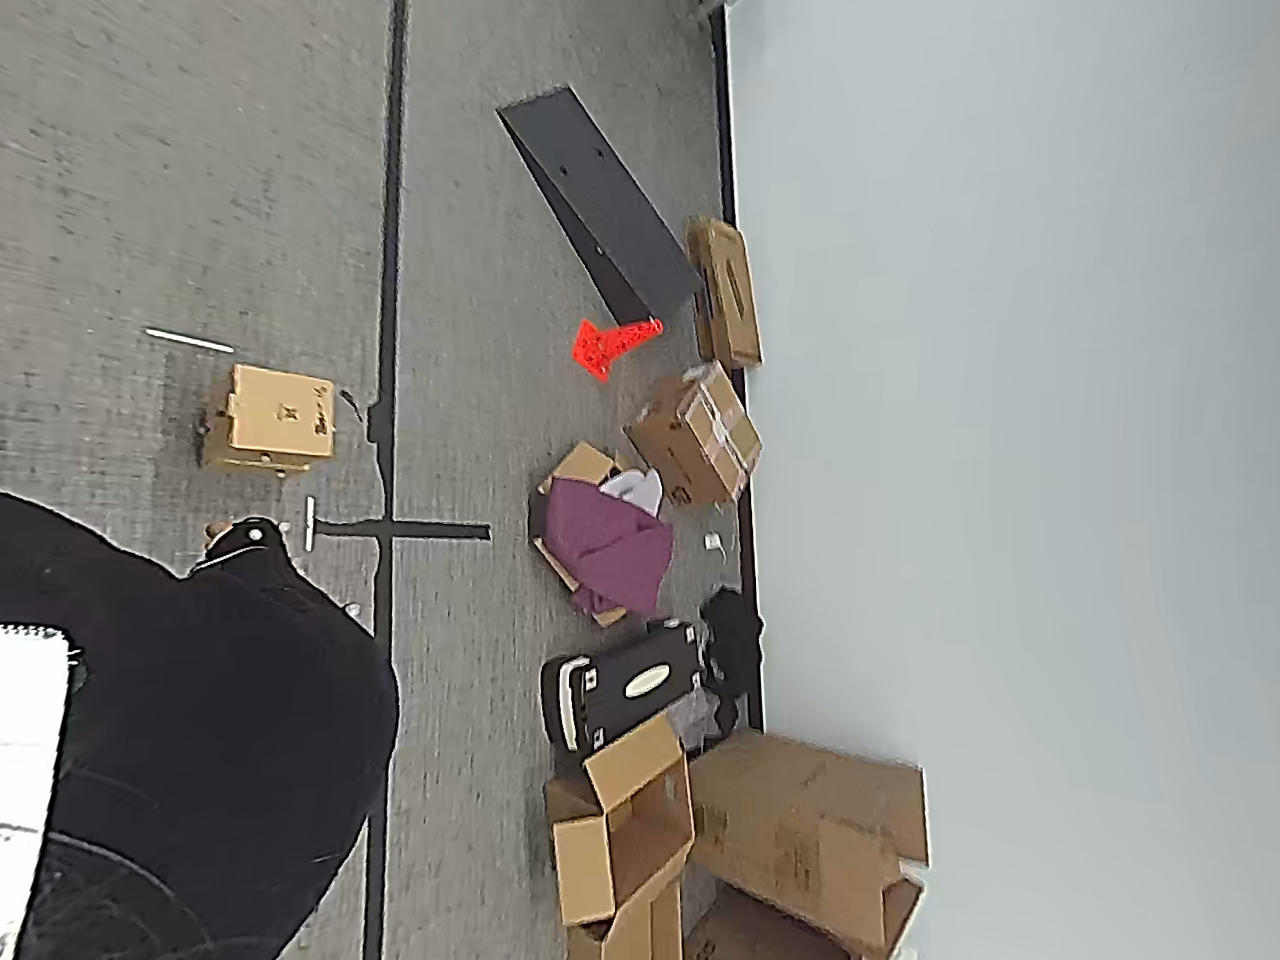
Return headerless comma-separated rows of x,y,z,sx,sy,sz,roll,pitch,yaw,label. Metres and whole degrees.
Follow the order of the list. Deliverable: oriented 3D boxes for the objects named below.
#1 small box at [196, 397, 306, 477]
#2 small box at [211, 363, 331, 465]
-0.891,-0.103,1.251,0.179,0.176,0.168,9,76,-48,small box
-0.777,-0.129,1.136,0.179,0.176,0.168,6,79,-48,small box
